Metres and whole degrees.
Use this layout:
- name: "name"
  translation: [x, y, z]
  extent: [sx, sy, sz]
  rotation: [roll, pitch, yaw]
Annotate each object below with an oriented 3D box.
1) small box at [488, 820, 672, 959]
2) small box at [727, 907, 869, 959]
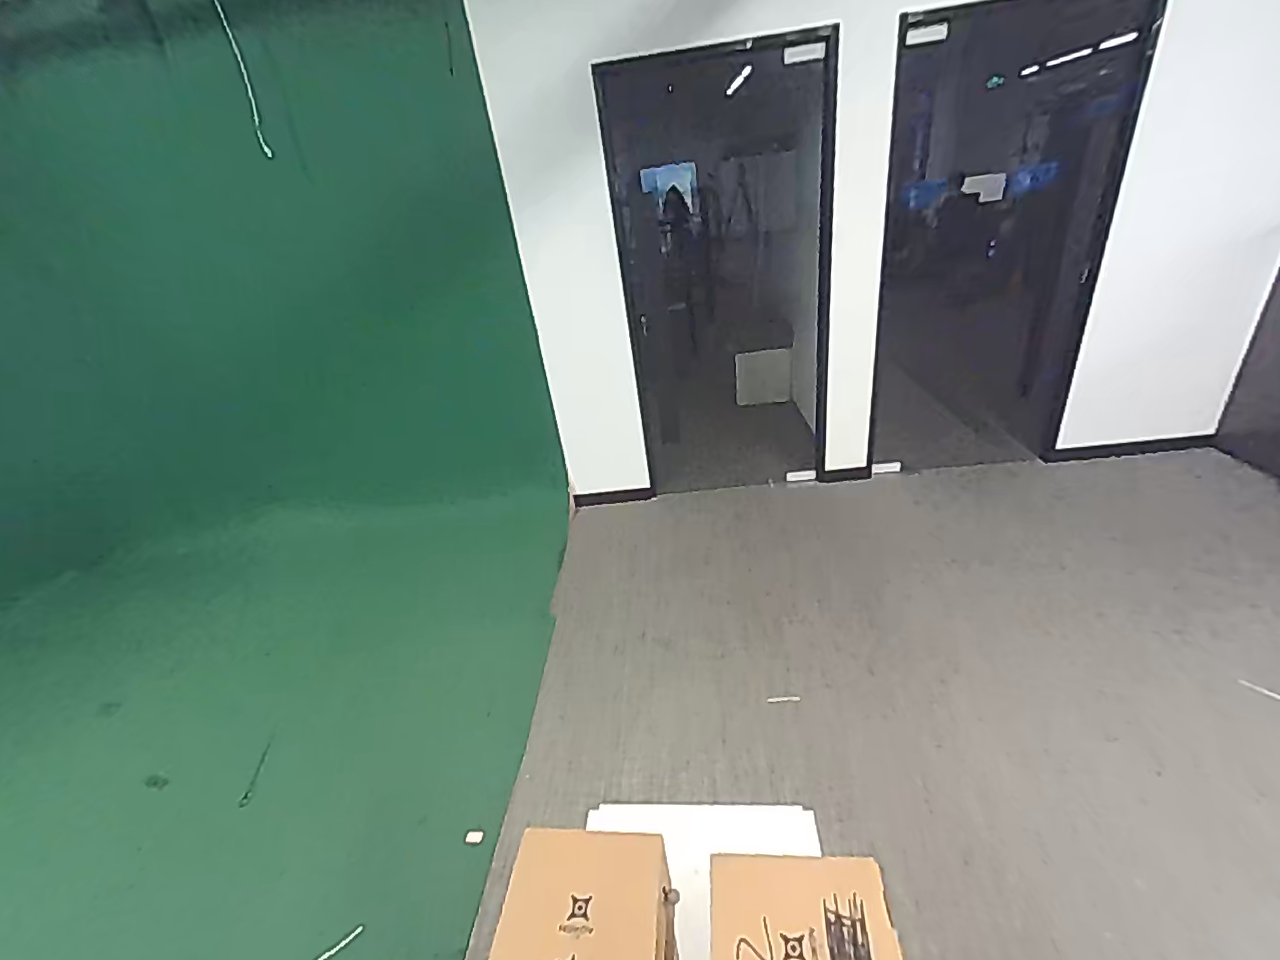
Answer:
- name: "small box"
  translation: [-0.055, 0.515, 0.596]
  extent: [0.168, 0.176, 0.179]
  rotation: [-3, 29, 8]
- name: "small box"
  translation: [0.188, 0.648, 0.633]
  extent: [0.168, 0.176, 0.179]
  rotation: [-4, 29, 10]
